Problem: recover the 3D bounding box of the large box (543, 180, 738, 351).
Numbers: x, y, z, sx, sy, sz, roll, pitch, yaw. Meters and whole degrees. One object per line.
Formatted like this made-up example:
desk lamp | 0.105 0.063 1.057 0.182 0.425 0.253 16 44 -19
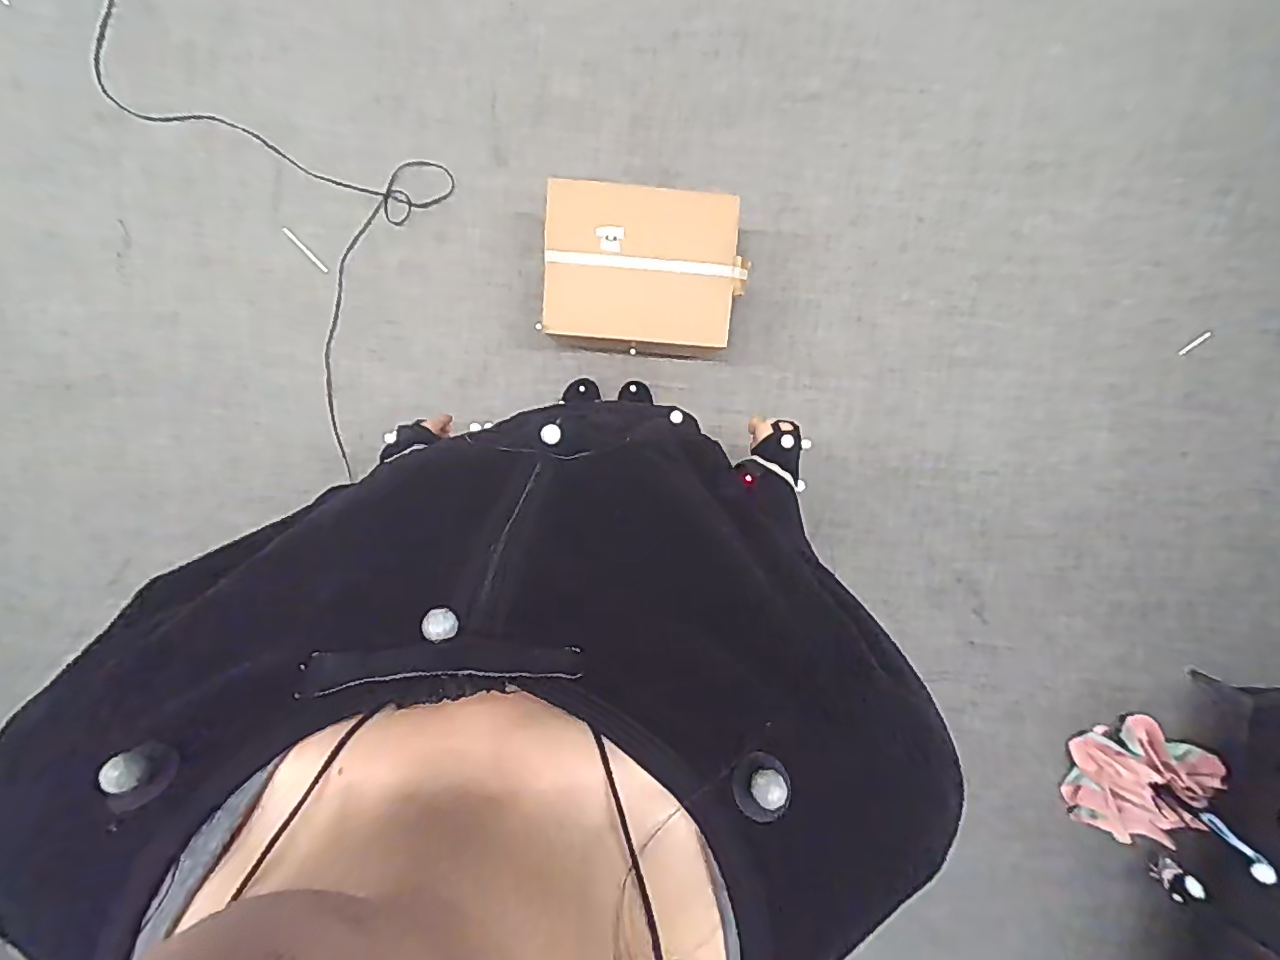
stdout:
large box | -0.003 -0.483 1.294 0.408 0.320 0.320 5 99 -2
